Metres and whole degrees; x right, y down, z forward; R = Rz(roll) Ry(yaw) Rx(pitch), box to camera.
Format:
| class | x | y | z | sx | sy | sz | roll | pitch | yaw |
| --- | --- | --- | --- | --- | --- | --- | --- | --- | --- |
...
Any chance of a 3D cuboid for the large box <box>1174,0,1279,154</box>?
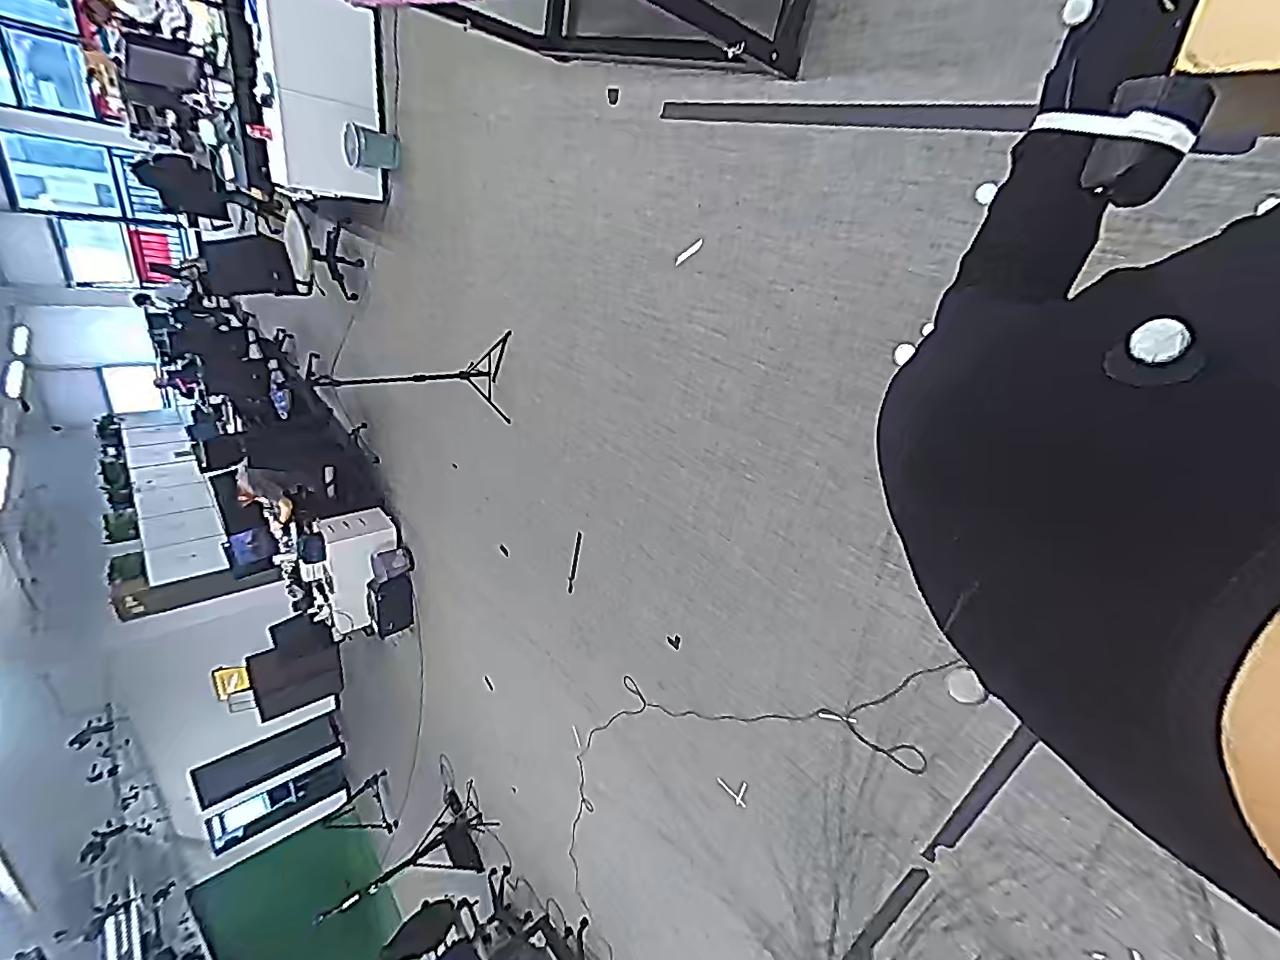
| class | x | y | z | sx | sy | sz | roll | pitch | yaw |
| --- | --- | --- | --- | --- | --- | --- | --- | --- | --- |
| large box | 0.590 | -0.358 | 0.260 | 0.408 | 0.320 | 0.320 | 26 | 125 | 37 |
